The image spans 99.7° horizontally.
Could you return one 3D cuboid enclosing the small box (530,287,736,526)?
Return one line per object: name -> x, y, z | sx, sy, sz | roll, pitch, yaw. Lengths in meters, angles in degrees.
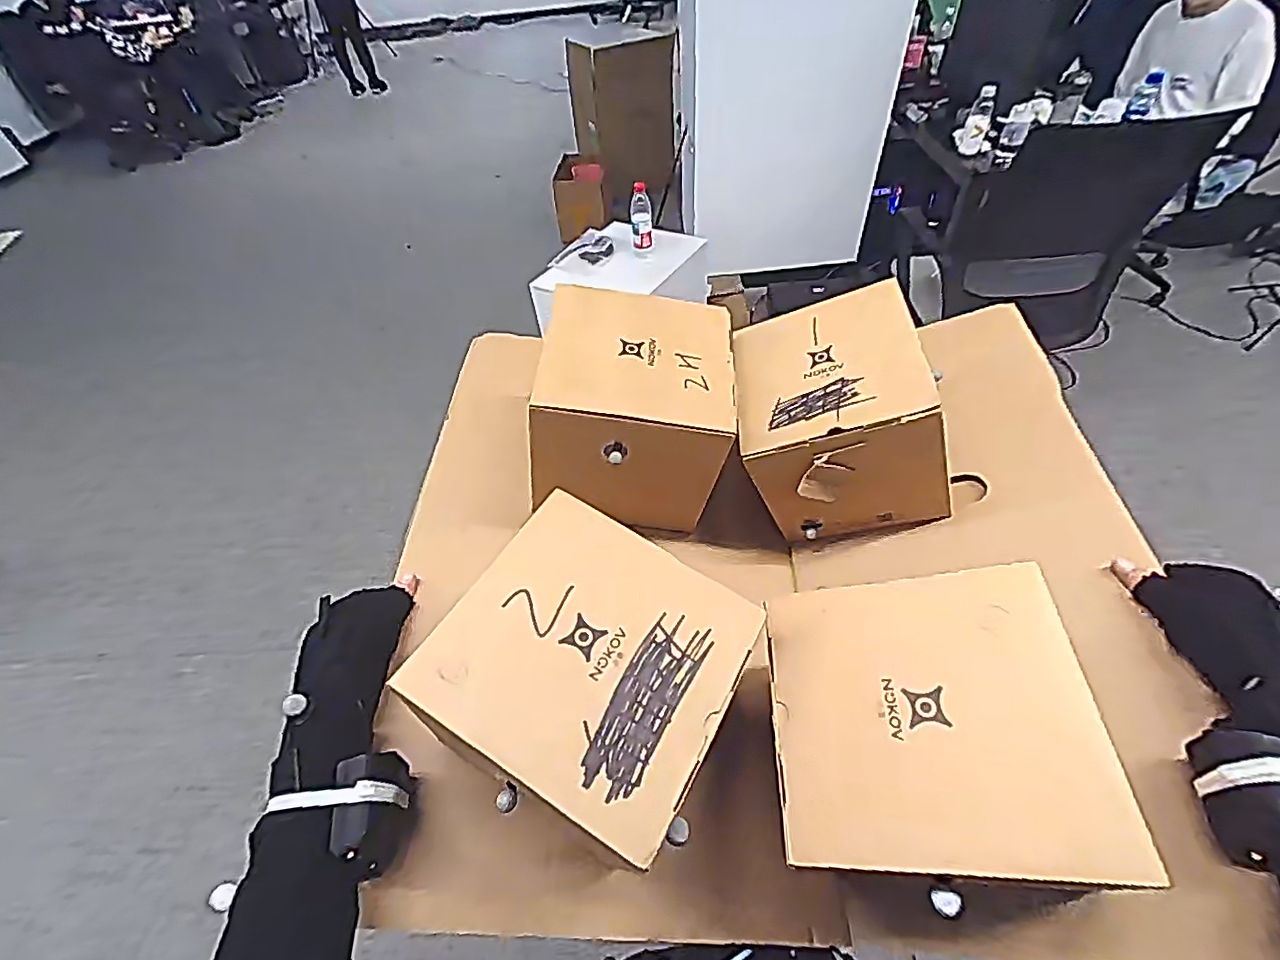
small box -> -0.009, -0.067, 0.557 | 0.179, 0.176, 0.168 | 8, 55, -4
